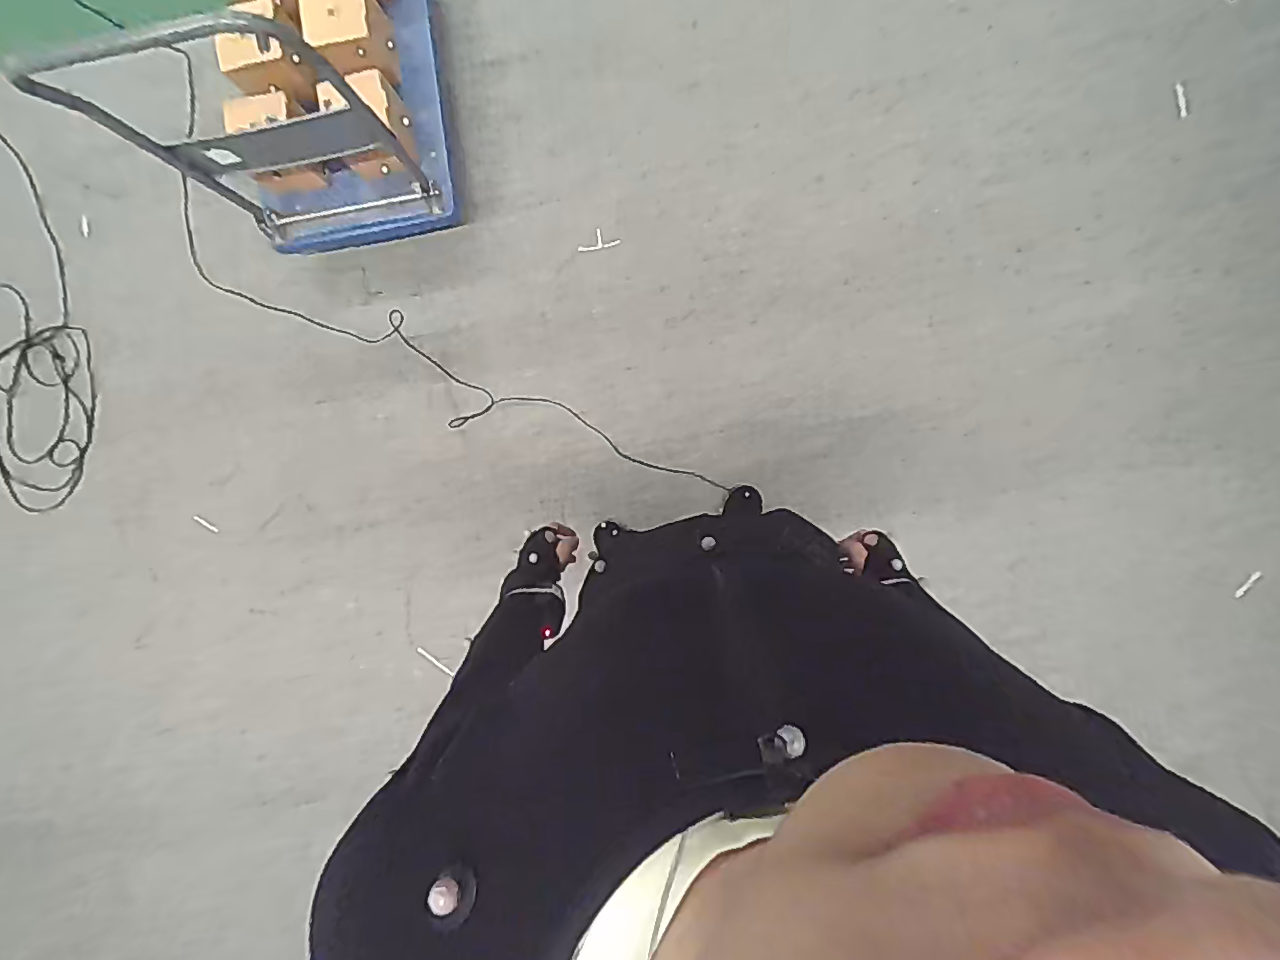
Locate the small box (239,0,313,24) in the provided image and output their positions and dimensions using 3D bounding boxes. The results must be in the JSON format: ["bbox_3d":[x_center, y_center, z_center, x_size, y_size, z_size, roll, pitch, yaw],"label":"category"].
[{"bbox_3d":[-1.036,-1.412,1.496,0.168,0.176,0.179,-5,89,3],"label":"small box"}]

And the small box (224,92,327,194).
[{"bbox_3d":[-0.988,-0.917,1.484,0.179,0.176,0.168,-6,88,5],"label":"small box"}]

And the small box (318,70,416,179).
[{"bbox_3d":[-0.728,-0.955,1.466,0.179,0.176,0.168,-10,88,3],"label":"small box"}]

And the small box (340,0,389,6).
[{"bbox_3d":[-0.786,-1.448,1.474,0.179,0.176,0.168,-8,92,3],"label":"small box"}]
